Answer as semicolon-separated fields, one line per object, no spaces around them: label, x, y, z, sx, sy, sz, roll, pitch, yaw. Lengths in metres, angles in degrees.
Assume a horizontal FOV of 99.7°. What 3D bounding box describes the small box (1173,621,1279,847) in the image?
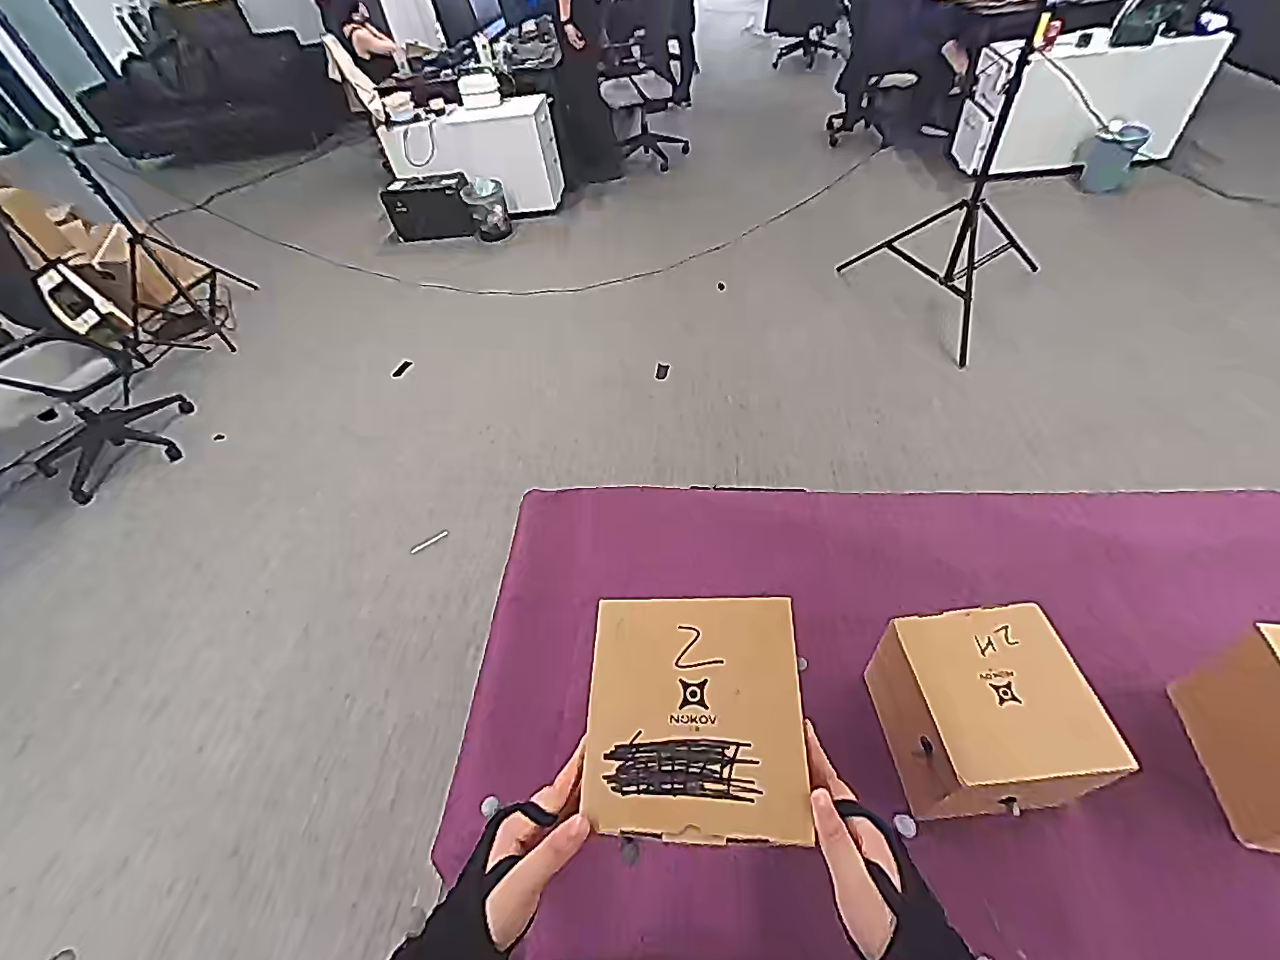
small box;0.724;0.271;0.559;0.168;0.176;0.179;2;48;11

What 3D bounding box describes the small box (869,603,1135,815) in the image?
small box;0.384;0.266;0.617;0.168;0.176;0.179;-7;47;2
